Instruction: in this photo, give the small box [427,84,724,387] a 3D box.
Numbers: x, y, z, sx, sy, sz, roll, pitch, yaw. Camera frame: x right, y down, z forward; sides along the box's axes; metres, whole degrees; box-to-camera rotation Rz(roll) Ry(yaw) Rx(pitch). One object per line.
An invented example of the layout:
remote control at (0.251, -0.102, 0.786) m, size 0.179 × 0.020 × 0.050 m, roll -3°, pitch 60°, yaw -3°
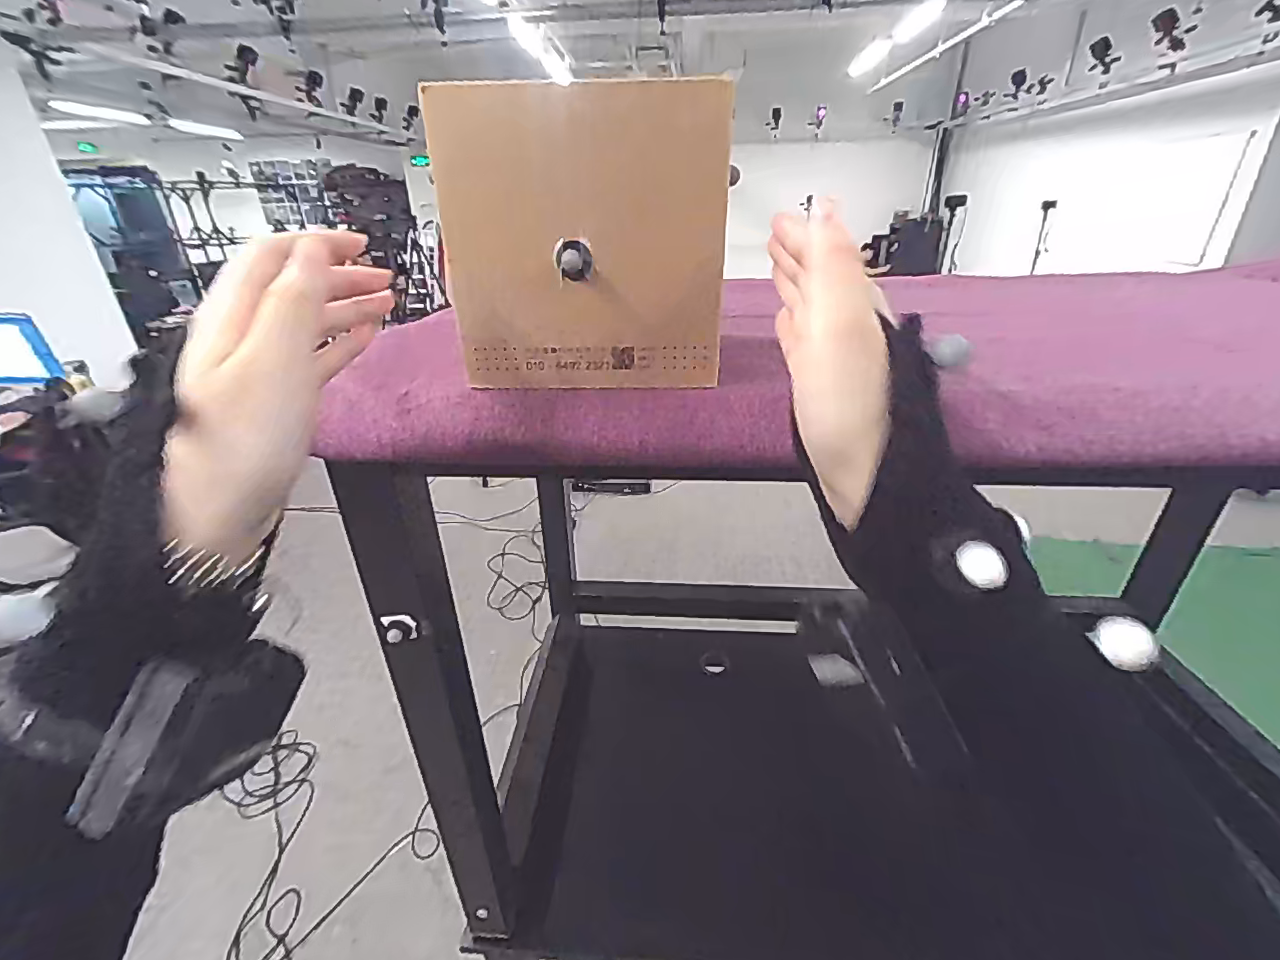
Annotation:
small box at (-0.031, -0.171, 0.397) m, size 0.168 × 0.176 × 0.179 m, roll 1°, pitch 27°, yaw 1°
